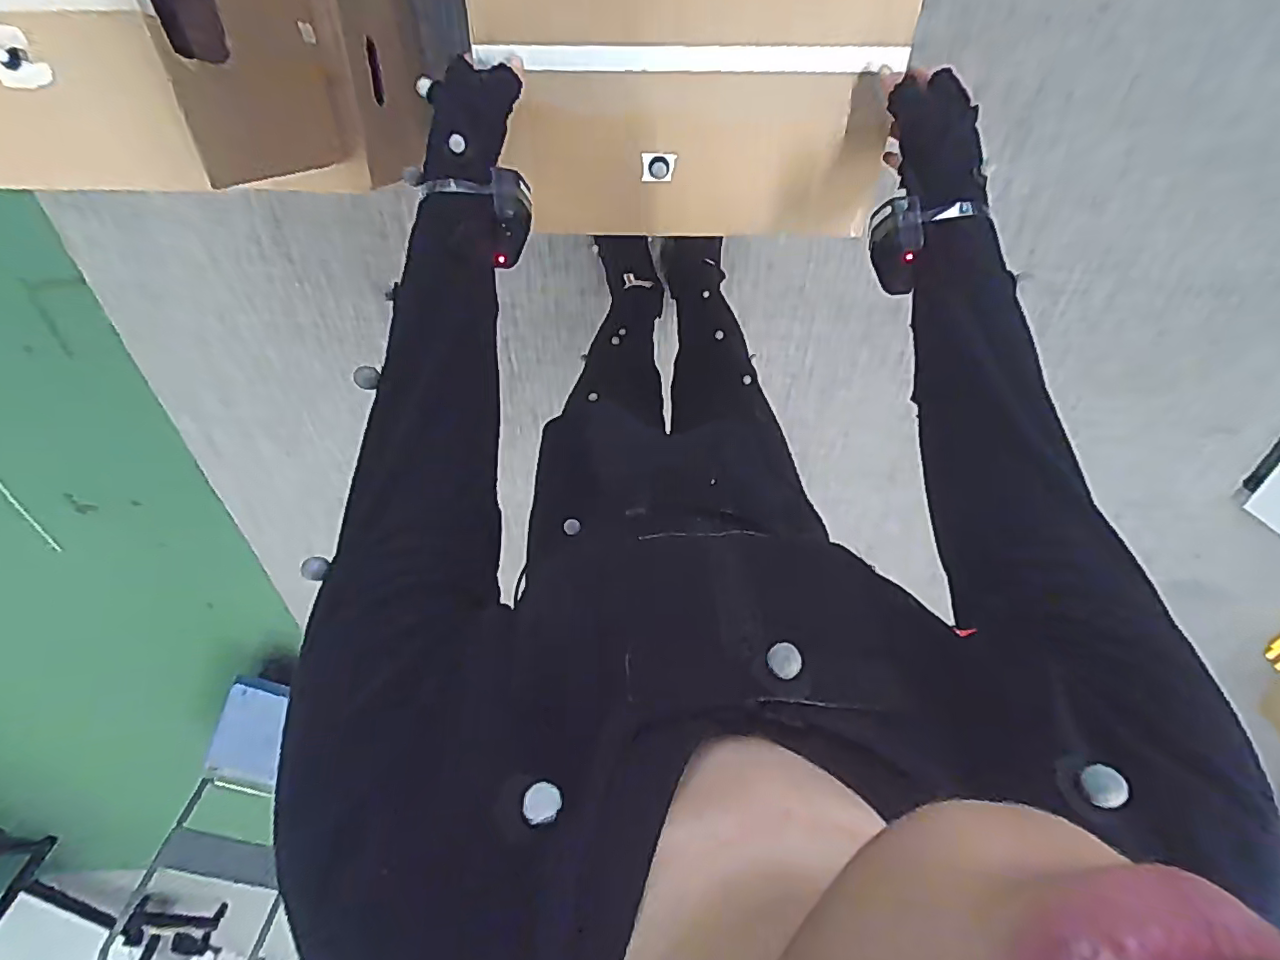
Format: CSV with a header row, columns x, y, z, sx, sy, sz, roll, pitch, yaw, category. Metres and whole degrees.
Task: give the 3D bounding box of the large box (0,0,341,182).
x,y,z,sx,sy,sz,roll,pitch,yaw,category
-0.643,-0.527,0.611,0.408,0.320,0.320,1,124,-1,large box
